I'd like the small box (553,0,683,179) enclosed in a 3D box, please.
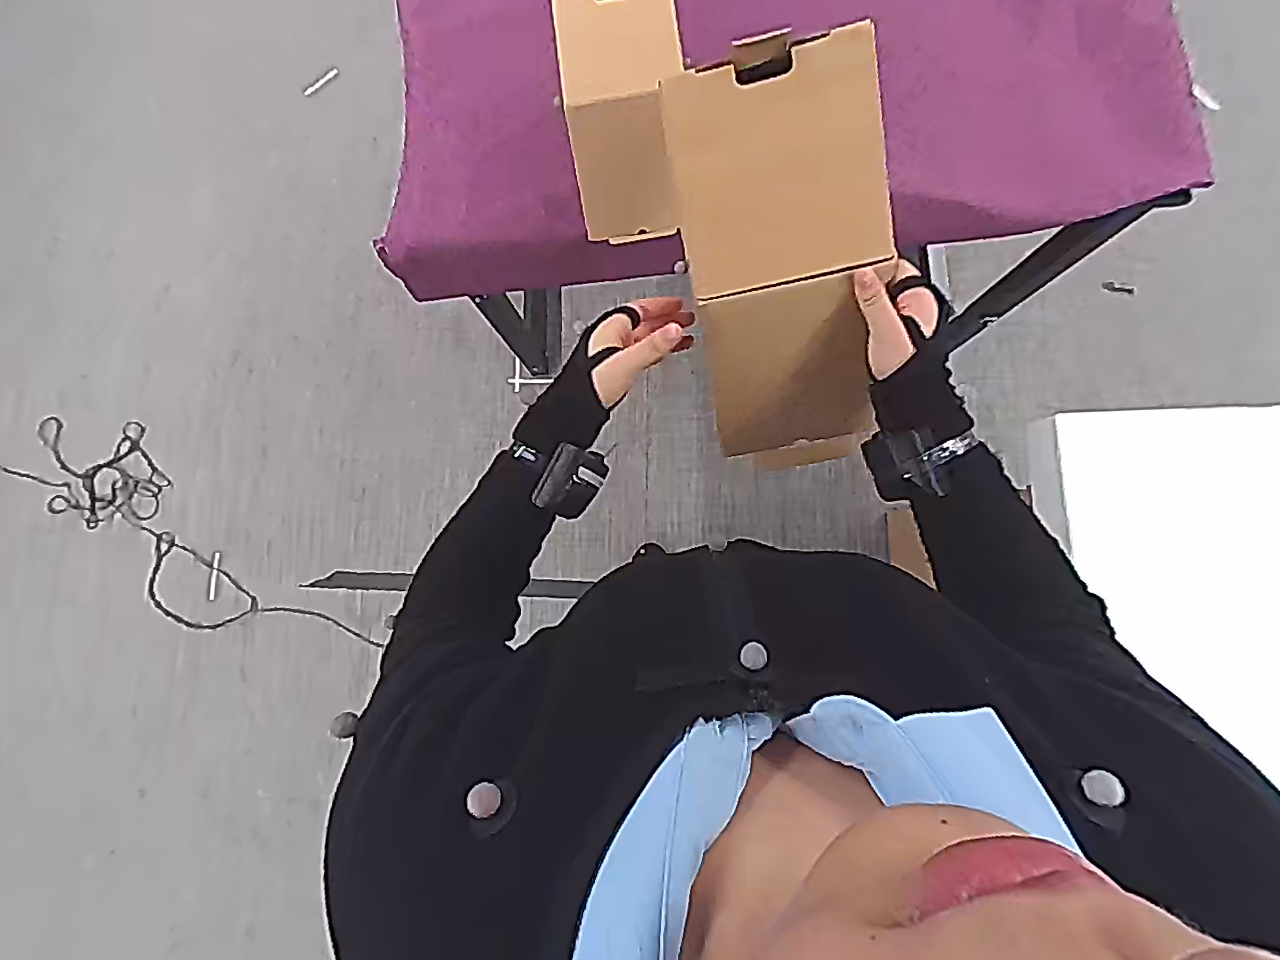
[{"bbox_3d":[-0.025,-0.576,0.801,0.168,0.176,0.179,-7,81,2],"label":"small box"}]
